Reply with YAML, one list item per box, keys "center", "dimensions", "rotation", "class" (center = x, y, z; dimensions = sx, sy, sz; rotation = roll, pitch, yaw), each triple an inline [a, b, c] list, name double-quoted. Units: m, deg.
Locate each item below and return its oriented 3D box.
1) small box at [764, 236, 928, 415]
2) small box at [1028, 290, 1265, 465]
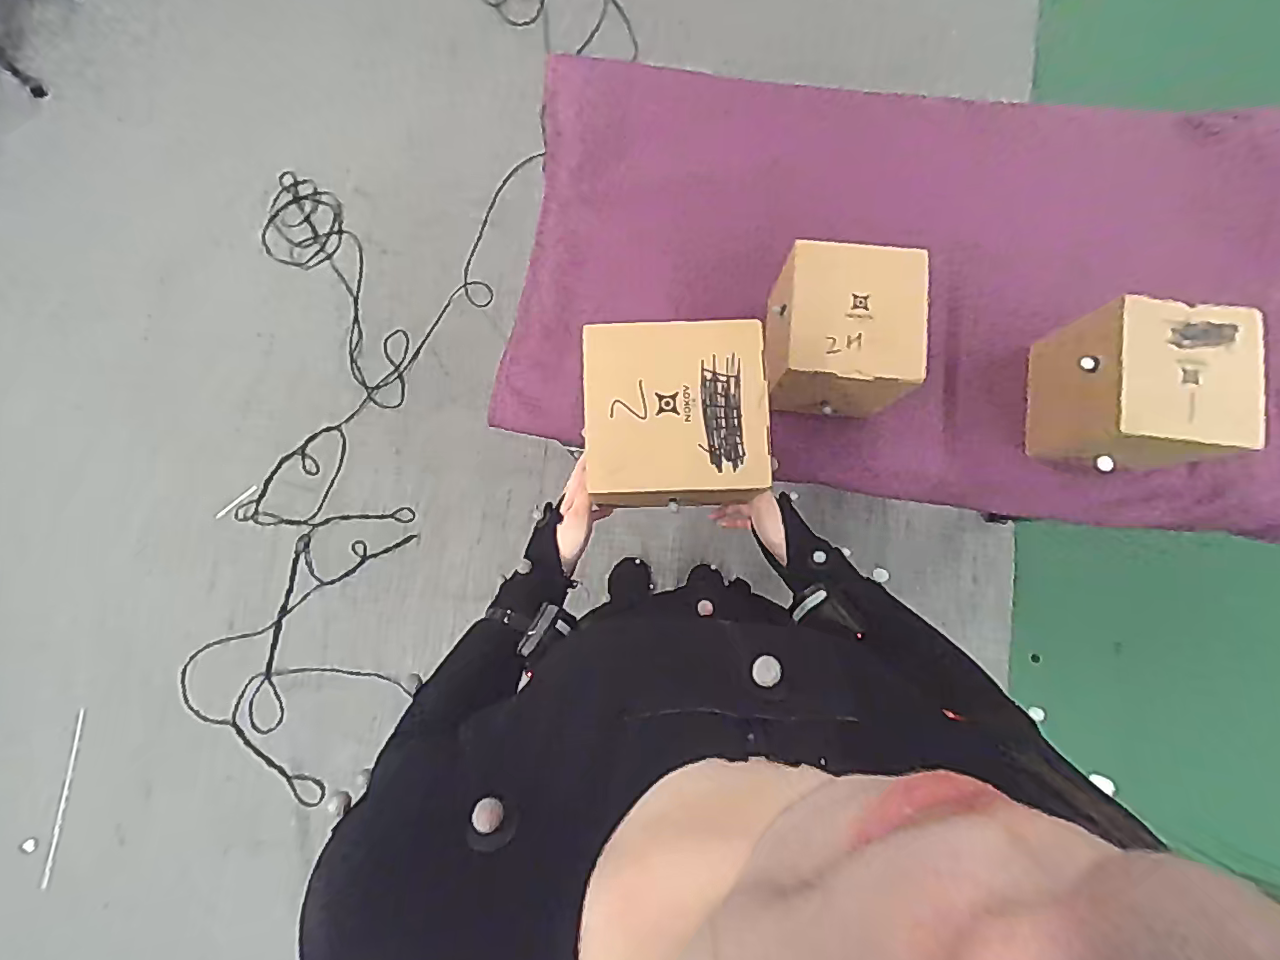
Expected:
- center: [0.270, -0.201, 0.740]
  dimensions: [0.168, 0.176, 0.179]
  rotation: [5, 81, 3]
  class: "small box"
- center: [0.657, -0.127, 0.722]
  dimensions: [0.168, 0.176, 0.179]
  rotation: [7, 83, 3]
  class: "small box"
